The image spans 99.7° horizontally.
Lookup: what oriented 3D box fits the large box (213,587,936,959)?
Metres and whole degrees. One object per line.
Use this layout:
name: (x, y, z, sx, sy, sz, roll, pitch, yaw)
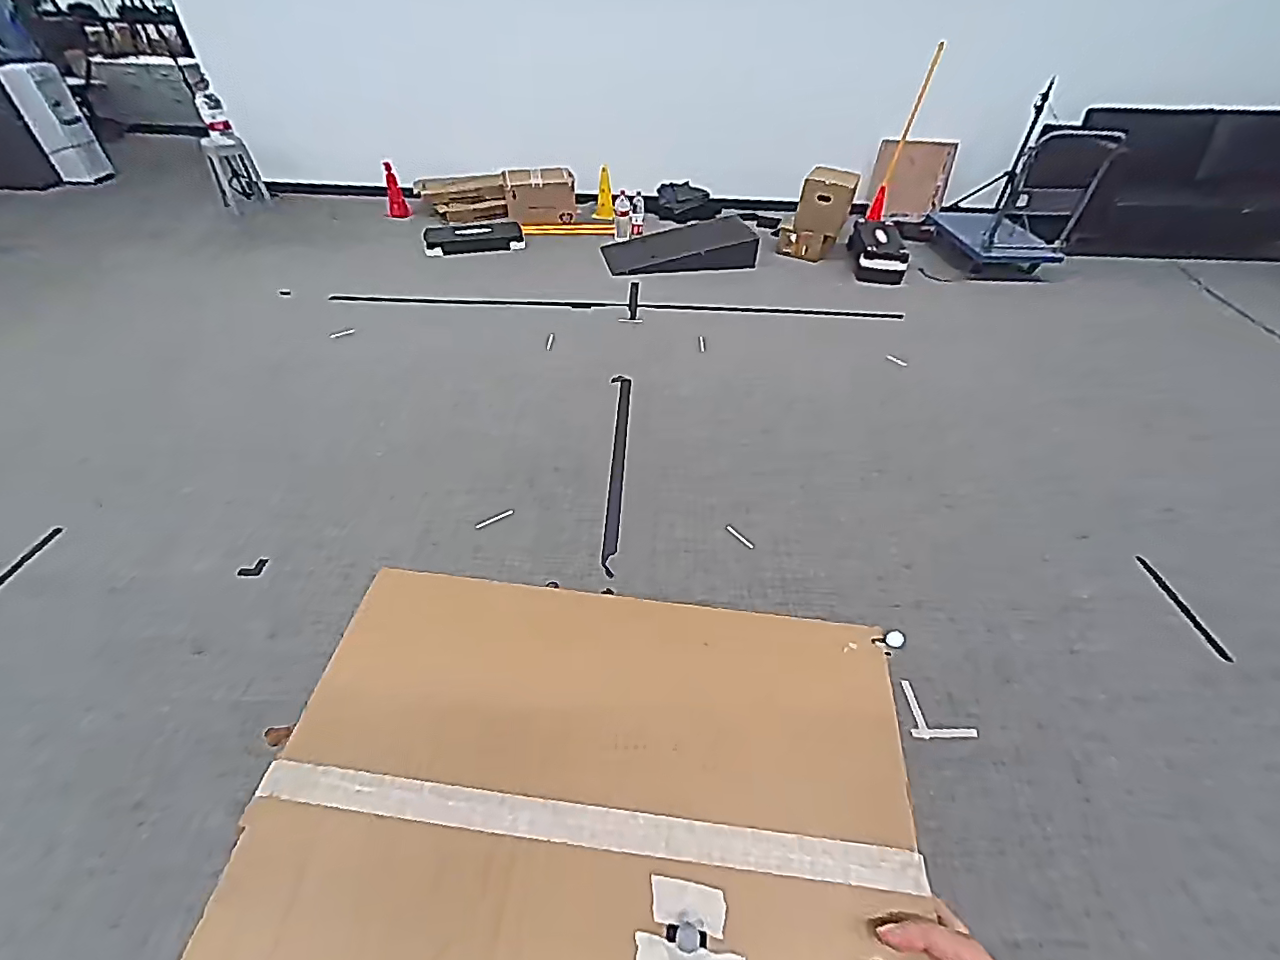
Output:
large box: (-0.032, 0.318, 0.449, 0.408, 0.320, 0.320, 6, 50, 4)
